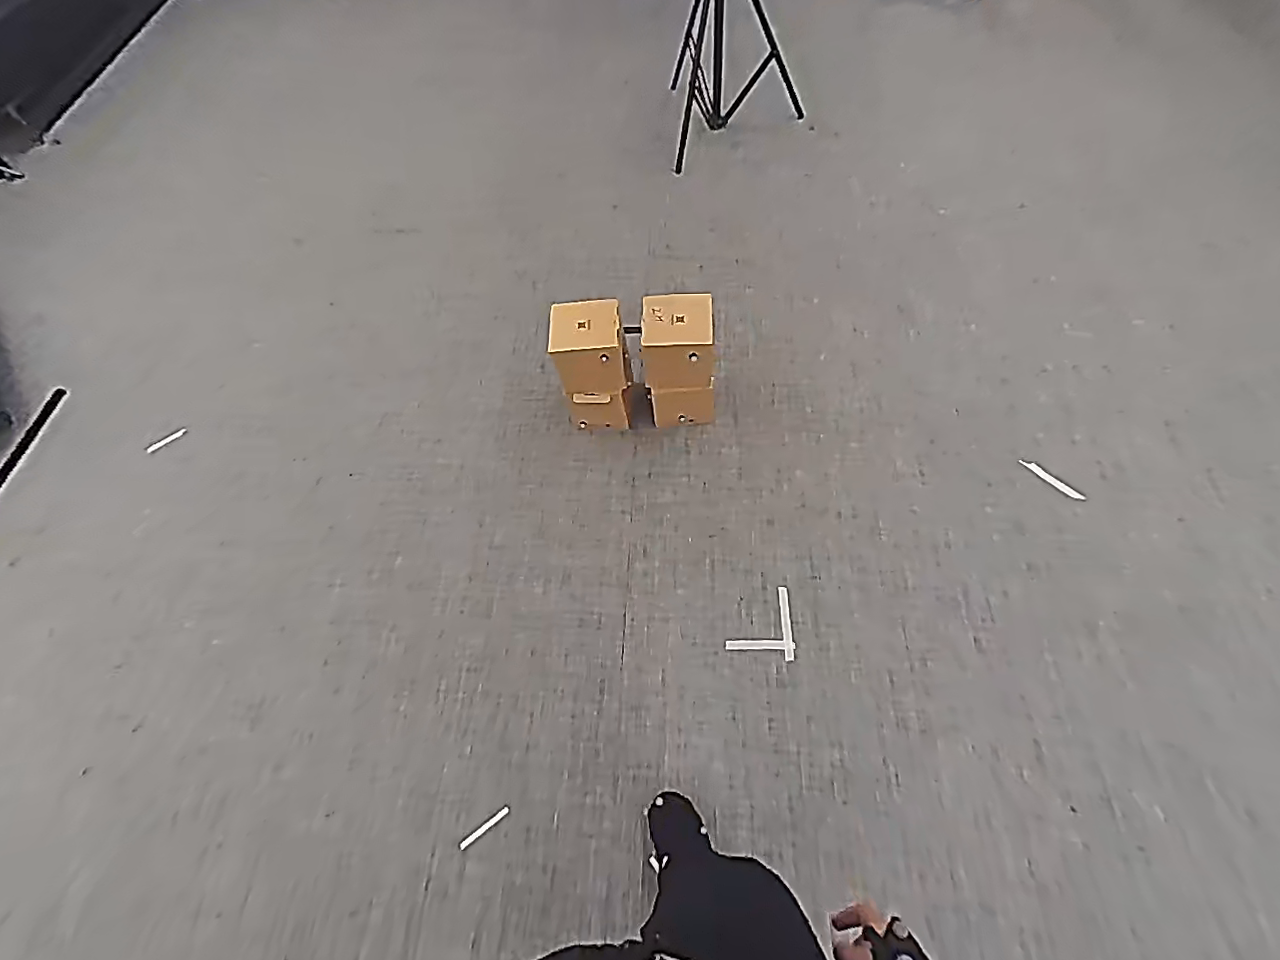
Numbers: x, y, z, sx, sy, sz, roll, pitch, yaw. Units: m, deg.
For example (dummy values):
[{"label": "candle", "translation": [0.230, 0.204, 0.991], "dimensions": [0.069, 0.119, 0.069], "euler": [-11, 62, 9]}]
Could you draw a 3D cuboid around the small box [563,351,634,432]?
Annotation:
[{"label": "small box", "translation": [-0.113, -0.251, 1.560], "dimensions": [0.168, 0.176, 0.179], "euler": [2, 62, 8]}]
